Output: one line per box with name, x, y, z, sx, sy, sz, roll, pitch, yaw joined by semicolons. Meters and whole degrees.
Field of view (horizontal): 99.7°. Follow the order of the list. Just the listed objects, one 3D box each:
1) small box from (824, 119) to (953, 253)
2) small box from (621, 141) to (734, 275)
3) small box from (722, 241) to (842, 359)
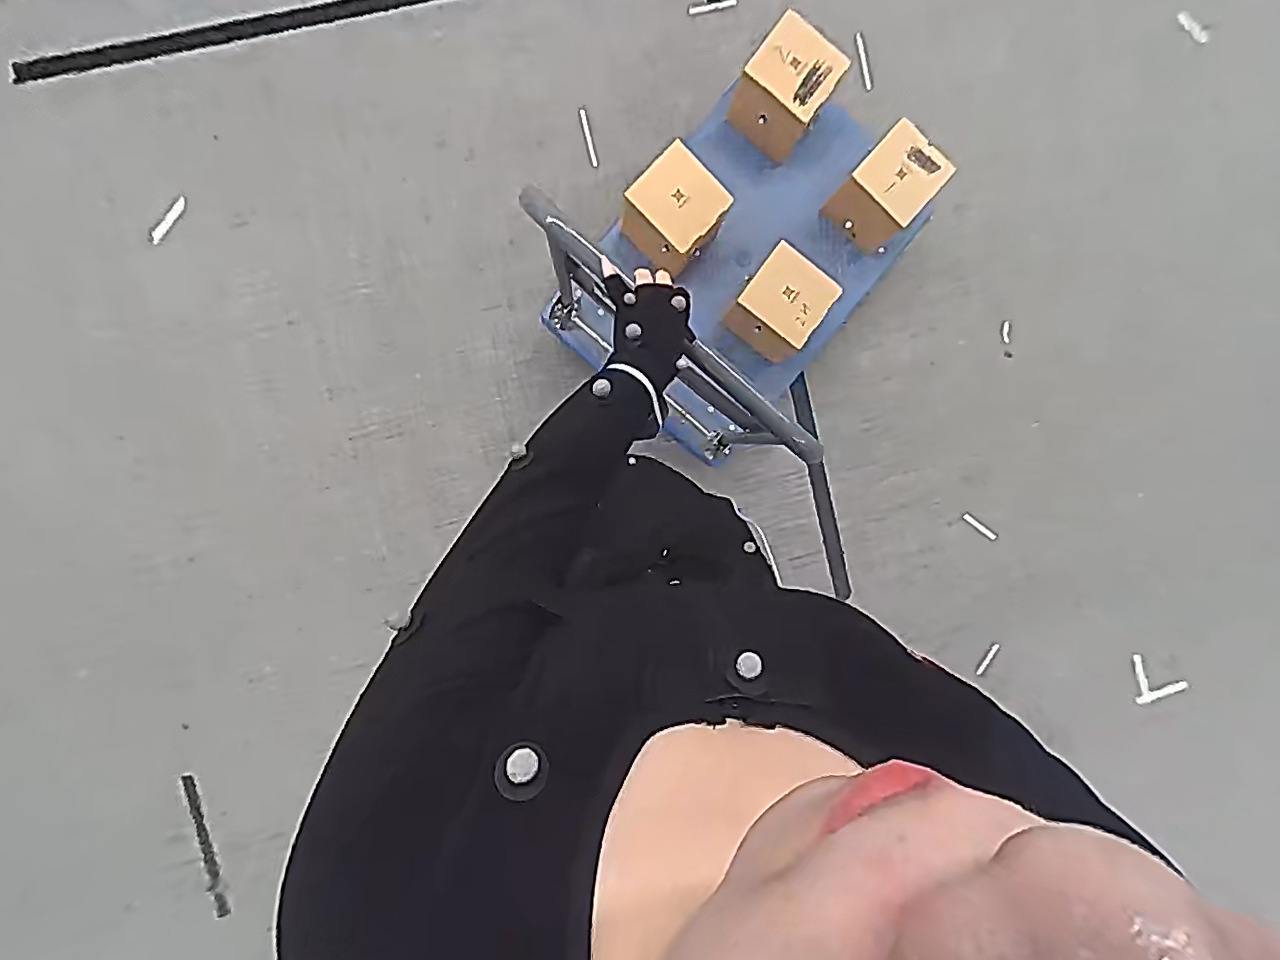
small box;0.562;-0.666;1.247;0.168;0.176;0.179;42;90;-5
small box;0.074;-0.594;1.208;0.179;0.176;0.168;44;88;-7
small box;0.313;-0.398;1.237;0.179;0.176;0.168;37;89;-5
